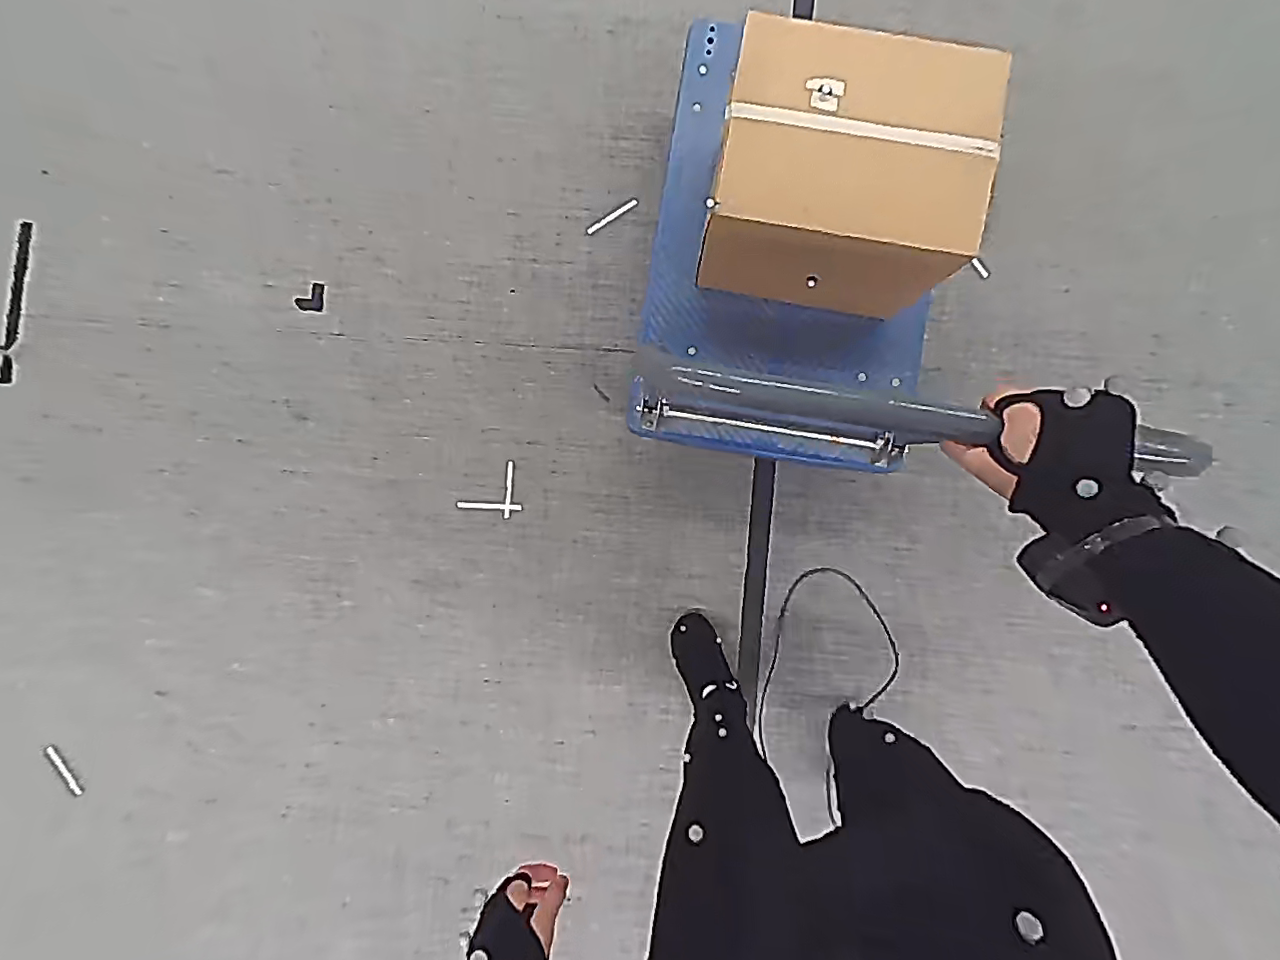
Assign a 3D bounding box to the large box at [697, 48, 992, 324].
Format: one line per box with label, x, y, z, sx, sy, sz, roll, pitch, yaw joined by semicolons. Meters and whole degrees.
large box;0.334;-0.500;0.990;0.408;0.320;0.320;10;89;2
